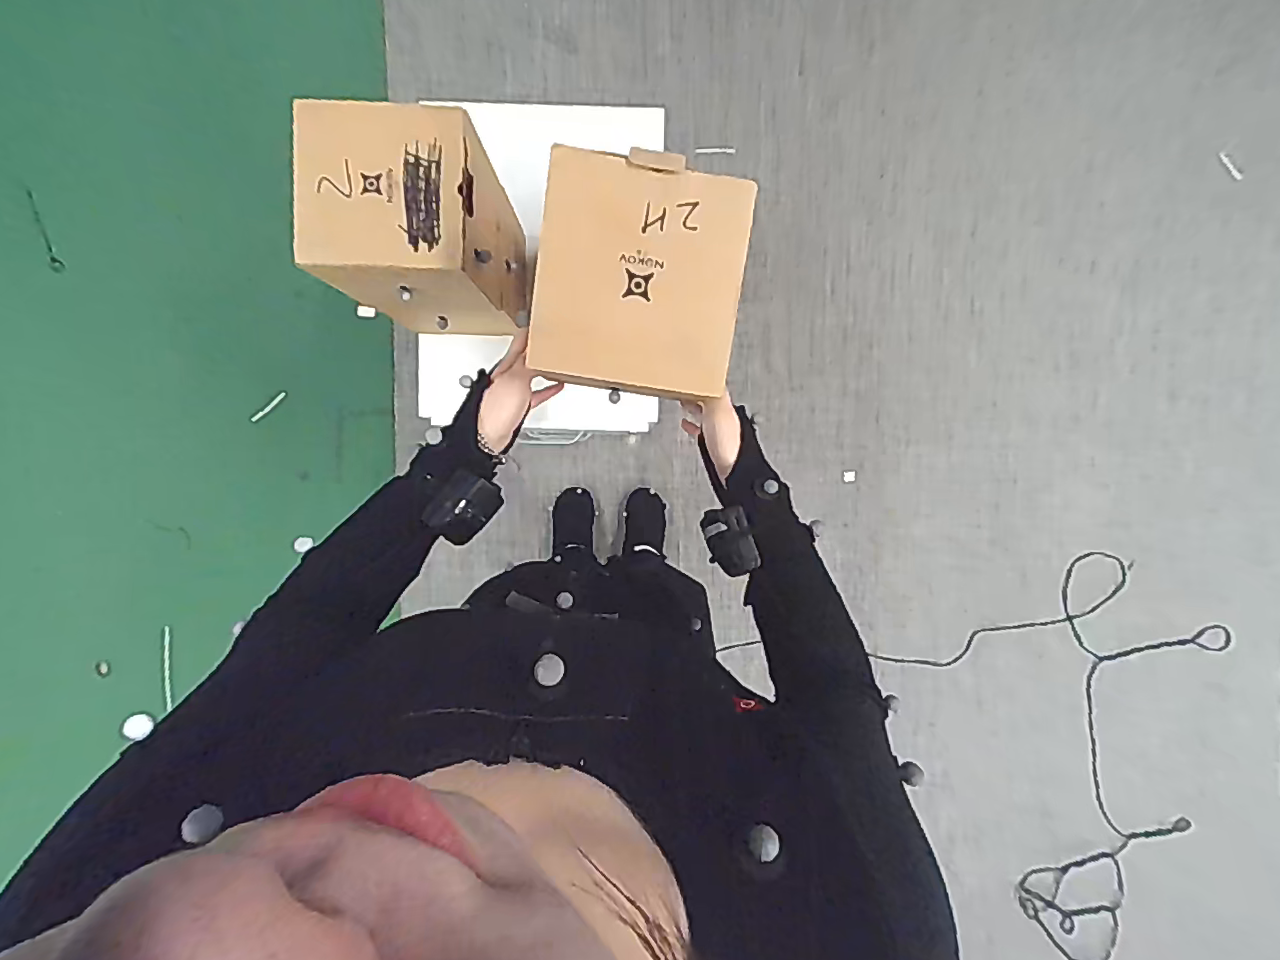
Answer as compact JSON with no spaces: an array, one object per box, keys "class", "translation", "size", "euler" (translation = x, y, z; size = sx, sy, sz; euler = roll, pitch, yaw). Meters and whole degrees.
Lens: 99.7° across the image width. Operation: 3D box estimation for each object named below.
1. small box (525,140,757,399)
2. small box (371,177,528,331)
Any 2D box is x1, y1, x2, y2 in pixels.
[{"class":"small box","translation":[-0.005,-0.175,0.508],"size":[0.168,0.176,0.179],"euler":[8,97,-6]},{"class":"small box","translation":[-0.270,-0.321,0.797],"size":[0.179,0.176,0.168],"euler":[1,94,-1]}]
